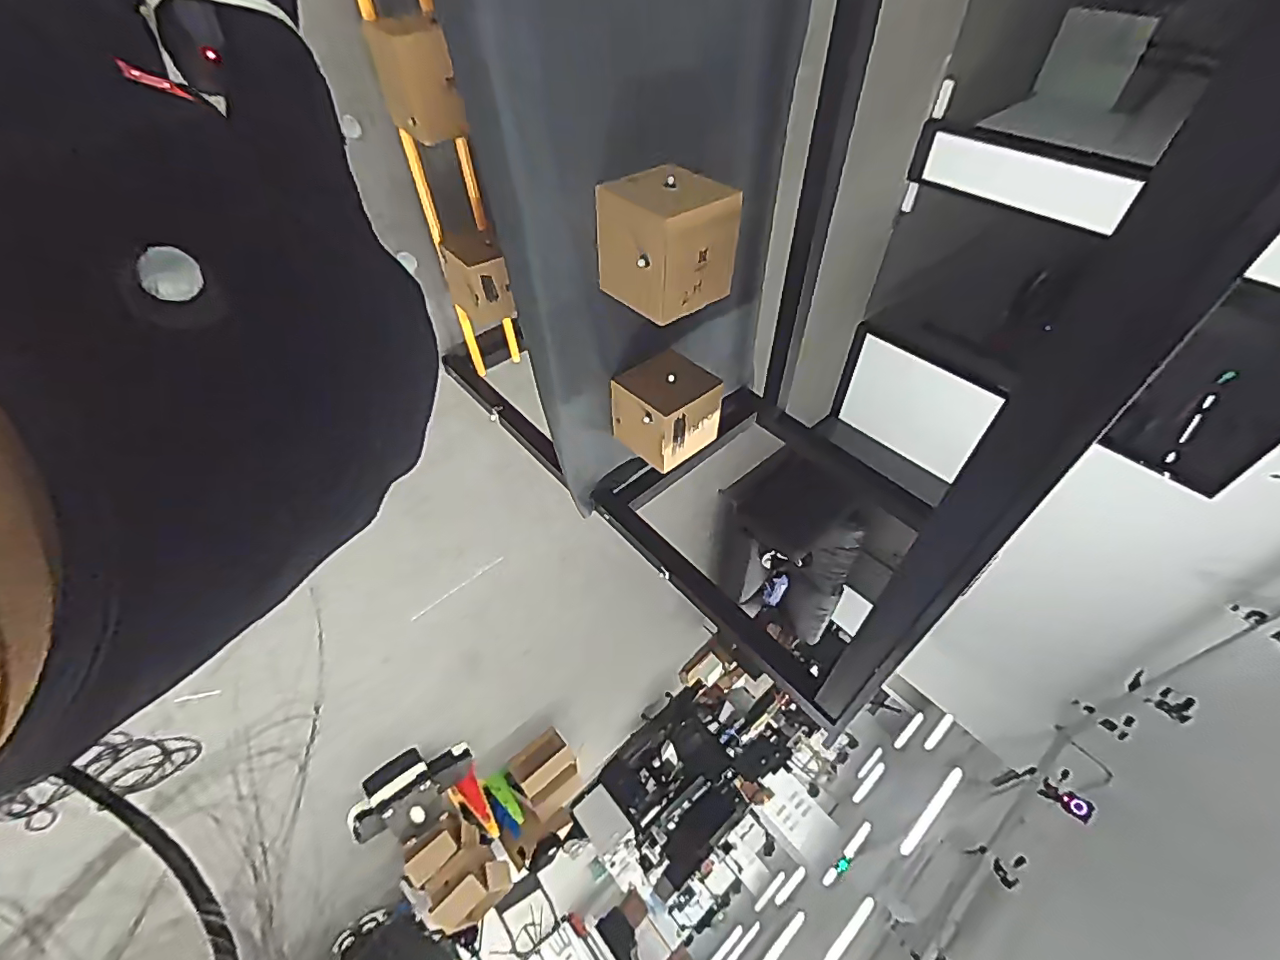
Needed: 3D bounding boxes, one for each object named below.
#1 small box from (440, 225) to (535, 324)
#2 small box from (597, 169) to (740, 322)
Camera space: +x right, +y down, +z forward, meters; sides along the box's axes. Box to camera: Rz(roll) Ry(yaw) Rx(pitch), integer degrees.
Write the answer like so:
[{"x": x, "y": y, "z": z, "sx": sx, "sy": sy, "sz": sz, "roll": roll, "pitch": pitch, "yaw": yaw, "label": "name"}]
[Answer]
[{"x": -0.400, "y": -0.539, "z": 1.412, "sx": 0.179, "sy": 0.176, "sz": 0.168, "roll": -32, "pitch": 146, "yaw": -27, "label": "small box"}, {"x": 0.040, "y": -0.399, "z": 0.903, "sx": 0.168, "sy": 0.176, "sz": 0.179, "roll": -33, "pitch": 146, "yaw": -27, "label": "small box"}]
